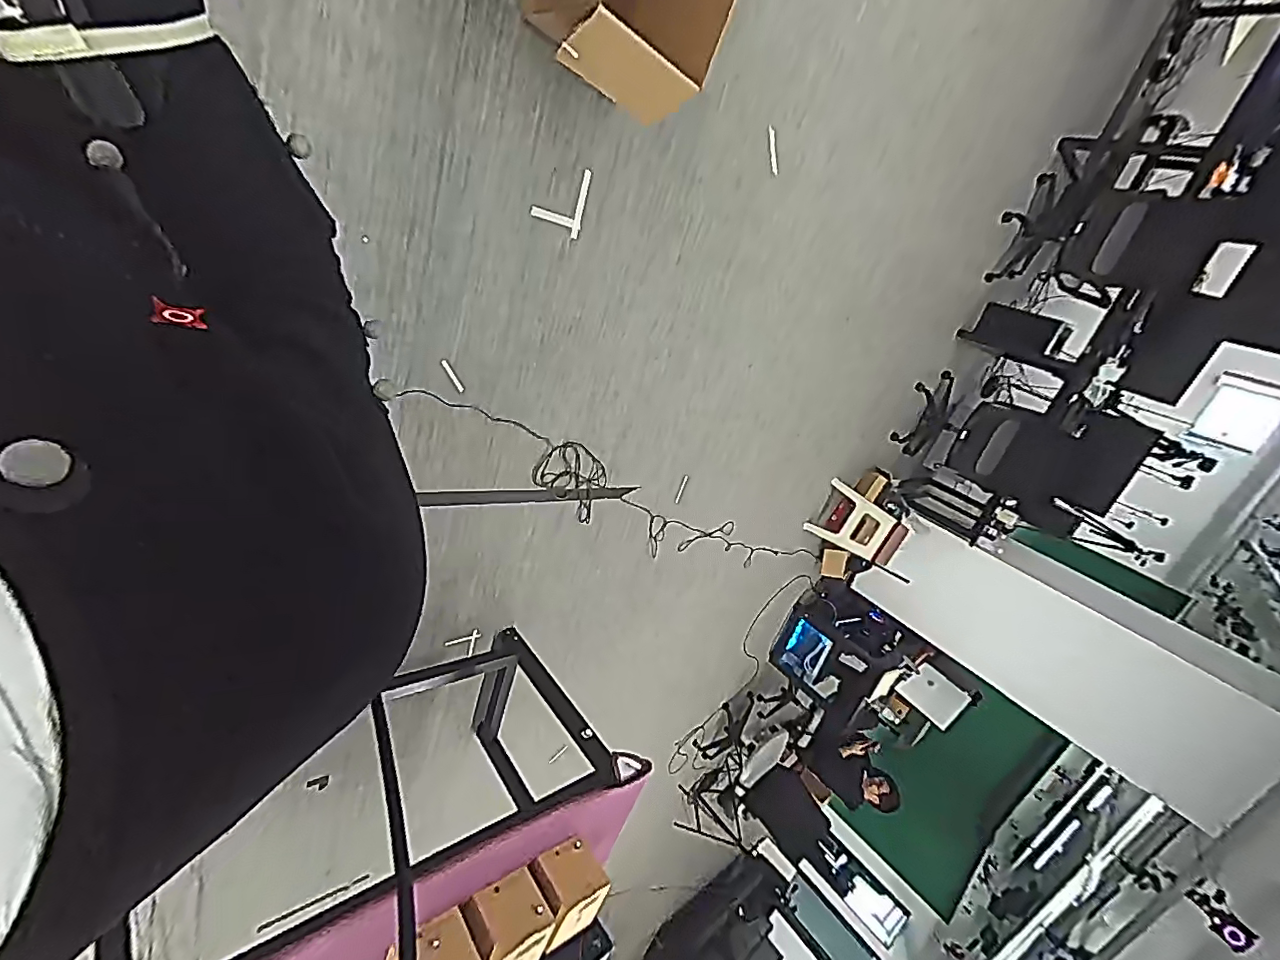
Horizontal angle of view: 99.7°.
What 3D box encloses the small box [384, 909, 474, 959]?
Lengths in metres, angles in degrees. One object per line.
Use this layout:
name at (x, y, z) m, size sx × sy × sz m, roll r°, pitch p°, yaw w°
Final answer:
small box at (-0.506, 1.185, 1.284) m, size 0.168 × 0.176 × 0.179 m, roll 2°, pitch 117°, yaw -47°
